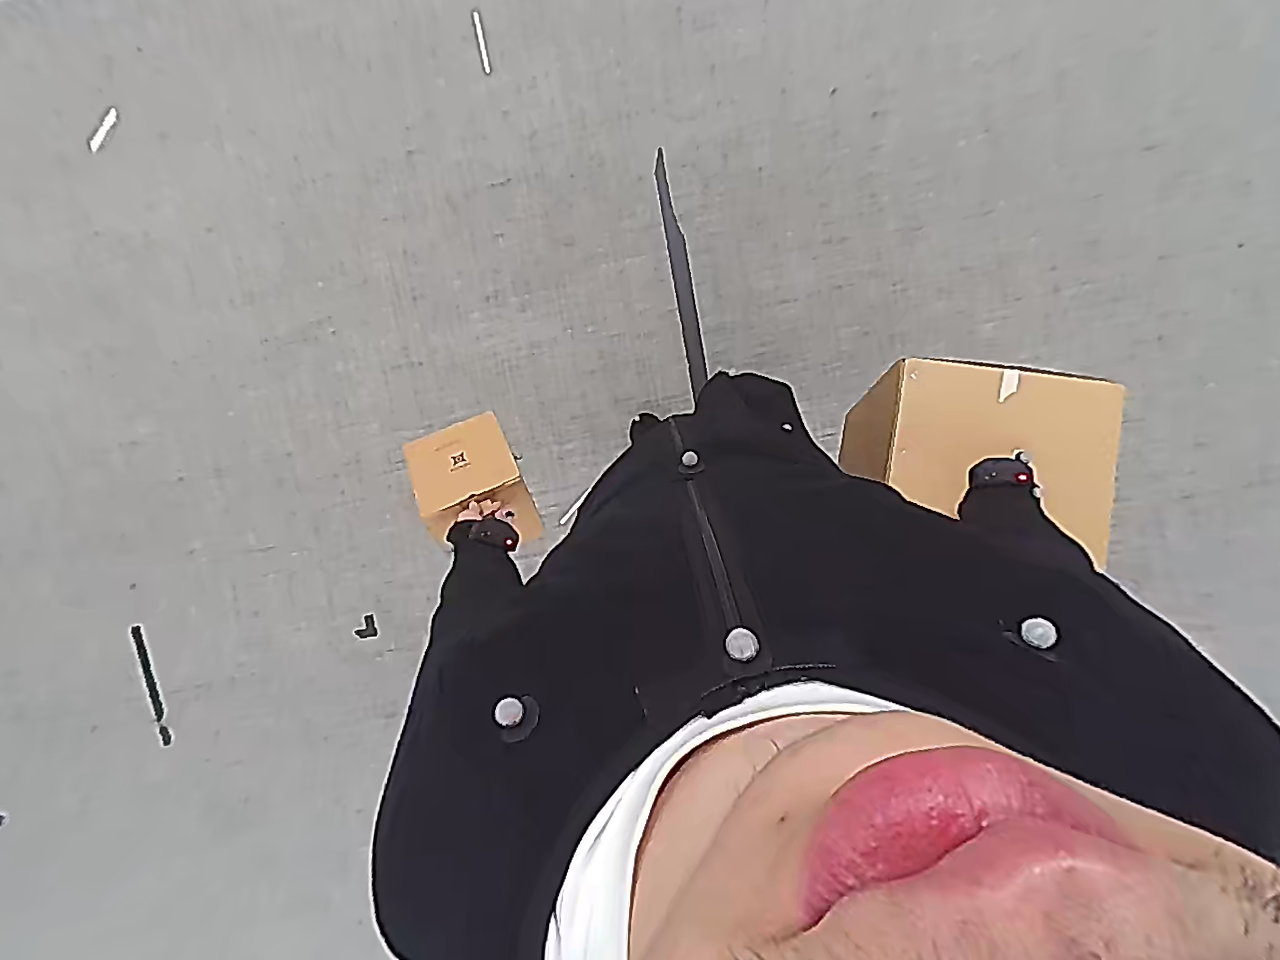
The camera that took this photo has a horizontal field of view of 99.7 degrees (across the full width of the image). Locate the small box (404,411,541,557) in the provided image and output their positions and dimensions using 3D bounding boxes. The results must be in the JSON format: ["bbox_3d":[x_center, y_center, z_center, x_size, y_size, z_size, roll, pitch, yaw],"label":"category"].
[{"bbox_3d":[-0.293,0.016,0.964,0.168,0.176,0.179,-24,54,-13],"label":"small box"}]
